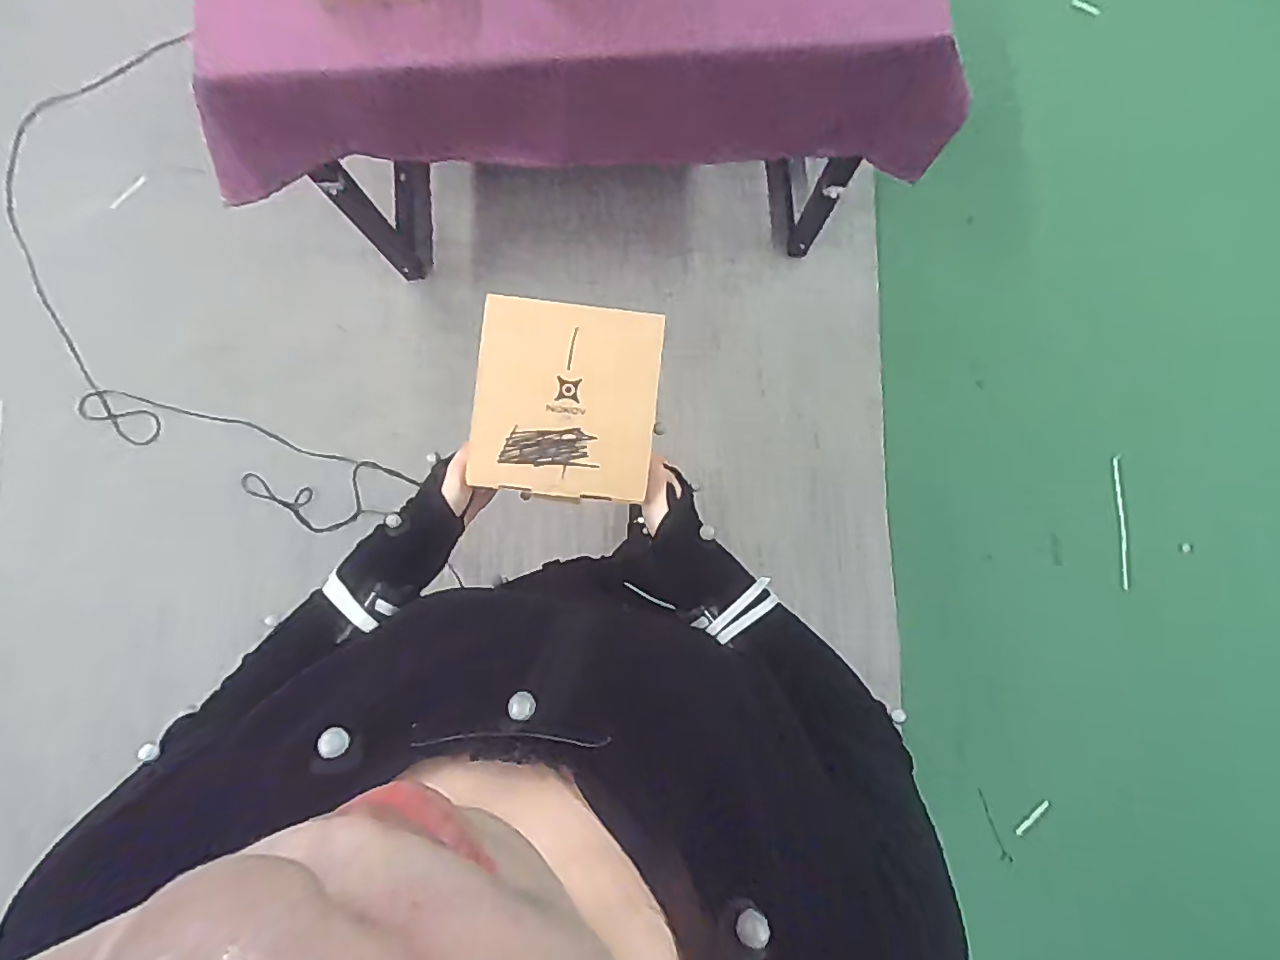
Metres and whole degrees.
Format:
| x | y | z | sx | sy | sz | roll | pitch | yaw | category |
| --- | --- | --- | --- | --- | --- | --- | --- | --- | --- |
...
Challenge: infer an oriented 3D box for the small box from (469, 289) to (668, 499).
| x | y | z | sx | sy | sz | roll | pitch | yaw | category |
| --- | --- | --- | --- | --- | --- | --- | --- | --- | --- |
| -0.066 | -0.077 | 0.566 | 0.168 | 0.176 | 0.179 | 6 | 89 | -2 | small box |
